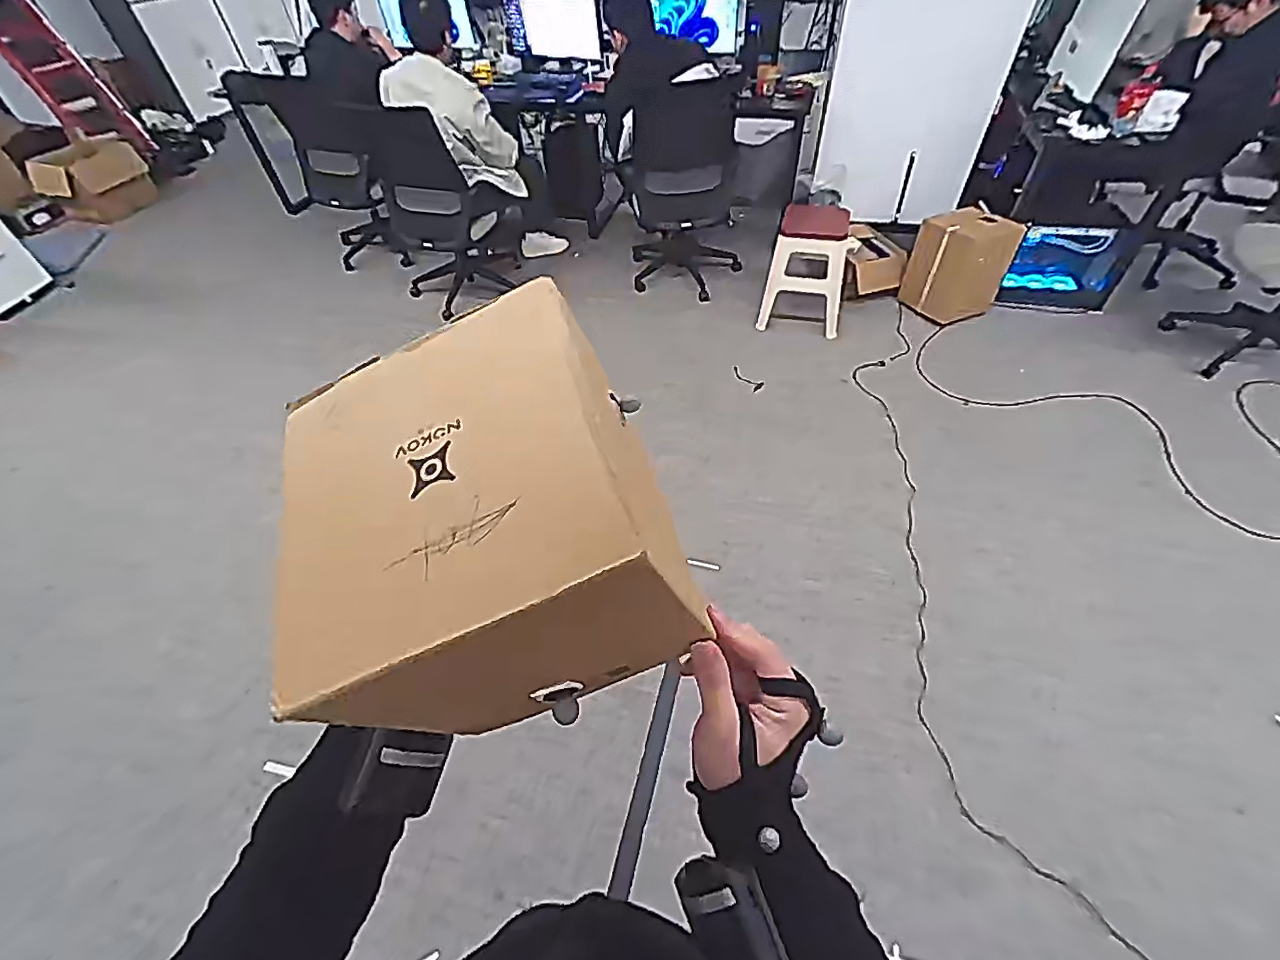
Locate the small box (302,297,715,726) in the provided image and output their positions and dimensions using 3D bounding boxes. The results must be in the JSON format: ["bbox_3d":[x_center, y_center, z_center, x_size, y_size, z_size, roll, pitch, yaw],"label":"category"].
[{"bbox_3d":[-0.069,0.034,0.331,0.168,0.176,0.179,-25,60,6],"label":"small box"}]
